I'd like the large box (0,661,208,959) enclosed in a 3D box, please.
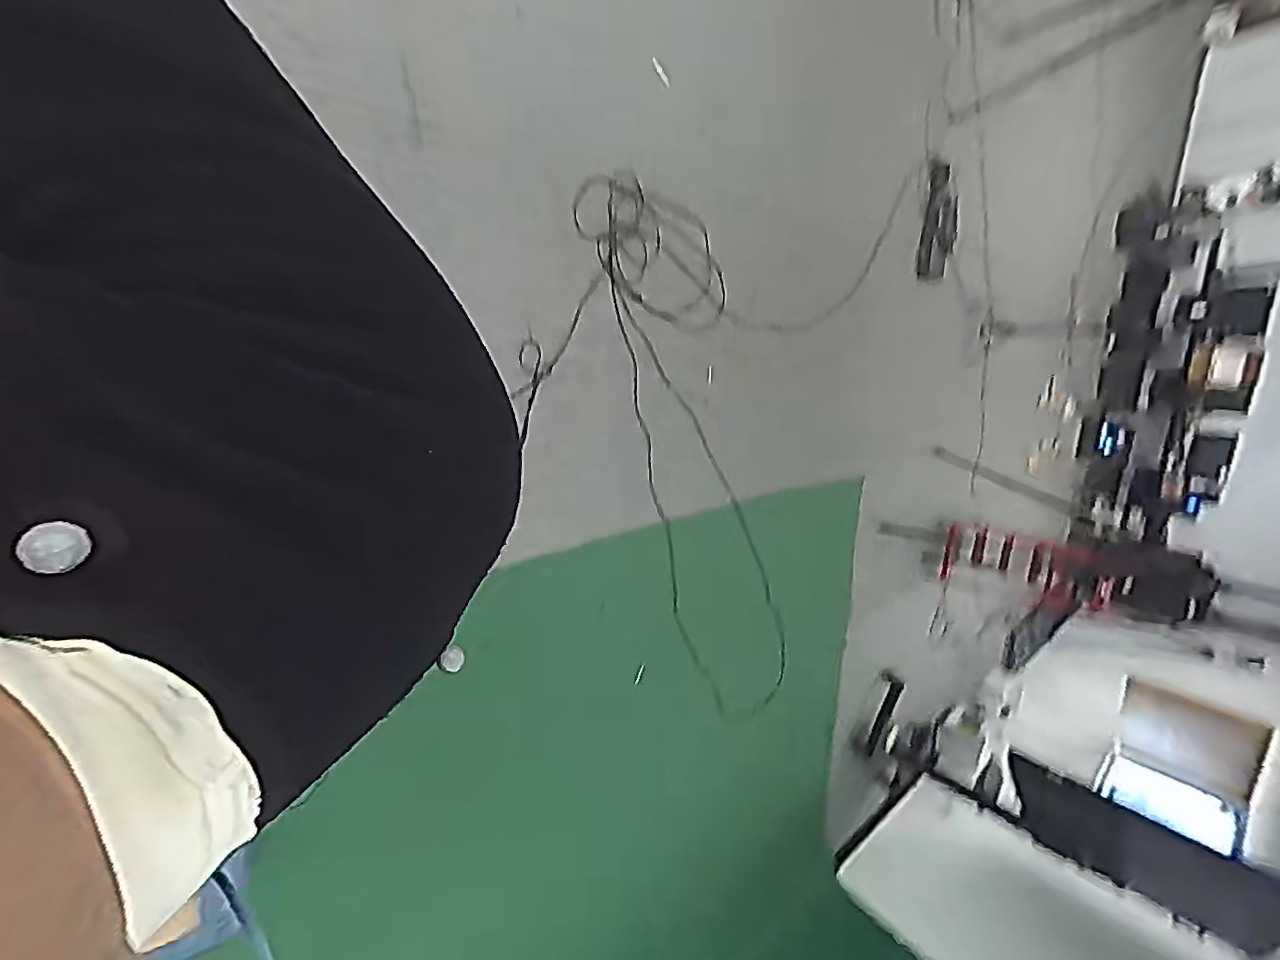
[{"bbox_3d":[-1.044,0.630,1.042,0.320,0.320,0.408,-1,103,-40],"label":"large box"}]
